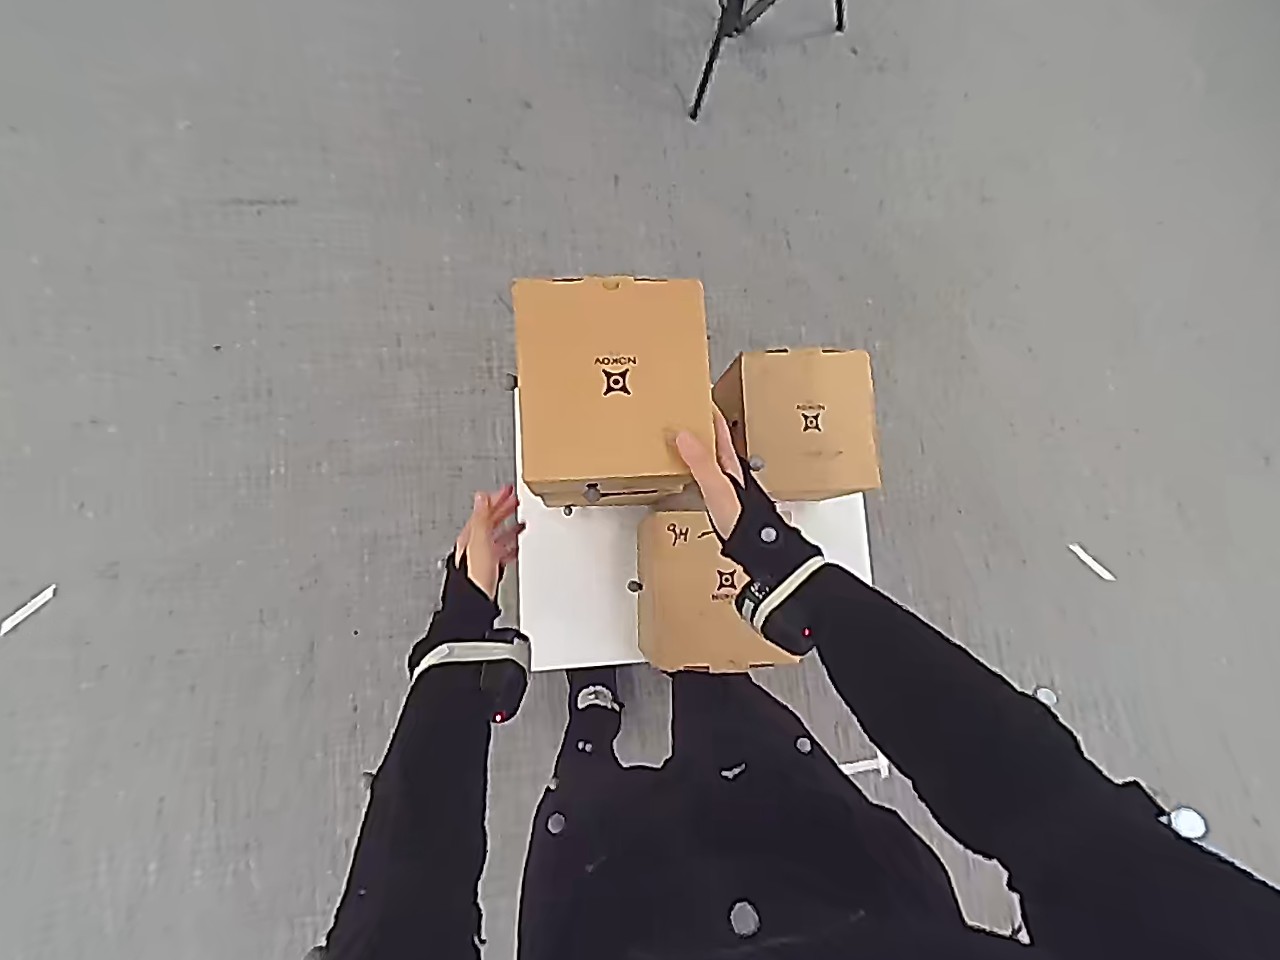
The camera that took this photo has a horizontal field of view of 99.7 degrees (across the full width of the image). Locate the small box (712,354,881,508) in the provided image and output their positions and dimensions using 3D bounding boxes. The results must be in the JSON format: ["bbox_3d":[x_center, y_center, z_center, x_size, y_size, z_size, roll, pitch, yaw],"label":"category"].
[{"bbox_3d":[0.198,-0.058,0.731,0.168,0.176,0.179,-2,84,-6],"label":"small box"}]

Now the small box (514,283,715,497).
[{"bbox_3d":[-0.031,-0.075,0.537,0.168,0.176,0.179,-3,84,-8],"label":"small box"}]

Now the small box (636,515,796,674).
[{"bbox_3d":[0.086,0.137,0.686,0.168,0.176,0.179,1,81,-7],"label":"small box"}]

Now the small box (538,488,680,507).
[{"bbox_3d":[-0.044,-0.056,0.698,0.168,0.176,0.179,-1,81,-7],"label":"small box"}]
